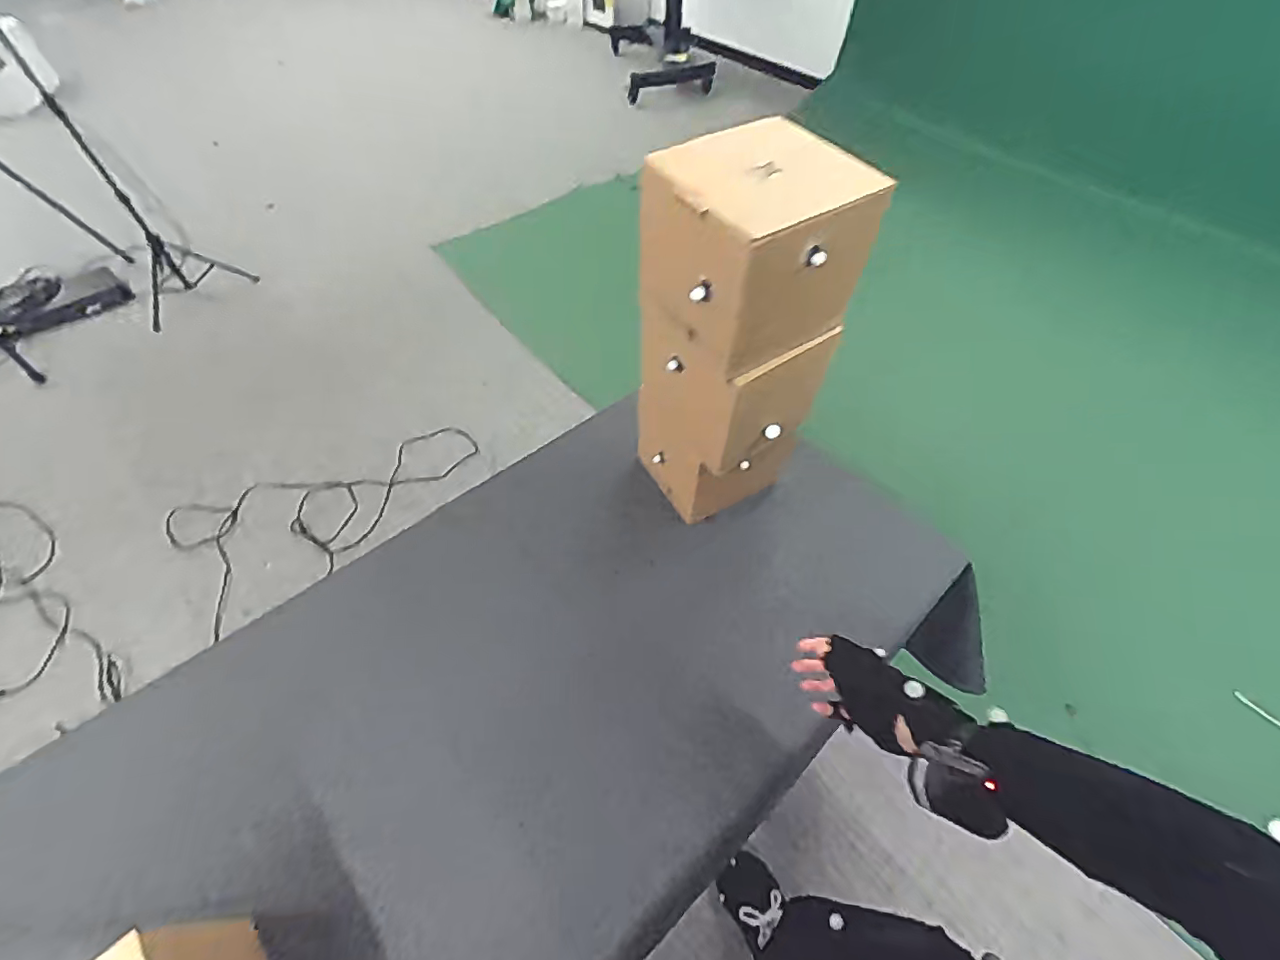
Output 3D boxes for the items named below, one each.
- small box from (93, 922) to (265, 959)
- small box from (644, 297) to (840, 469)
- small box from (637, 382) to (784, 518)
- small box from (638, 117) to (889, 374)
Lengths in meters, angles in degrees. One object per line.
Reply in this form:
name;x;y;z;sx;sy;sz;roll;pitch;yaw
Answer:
small box;-0.404;0.497;0.425;0.168;0.176;0.179;-37;63;-25
small box;0.116;-0.147;0.701;0.168;0.176;0.179;-30;61;-20
small box;0.109;-0.068;0.846;0.179;0.176;0.168;-24;59;-17
small box;0.114;-0.241;0.568;0.179;0.176;0.168;-28;60;-19
